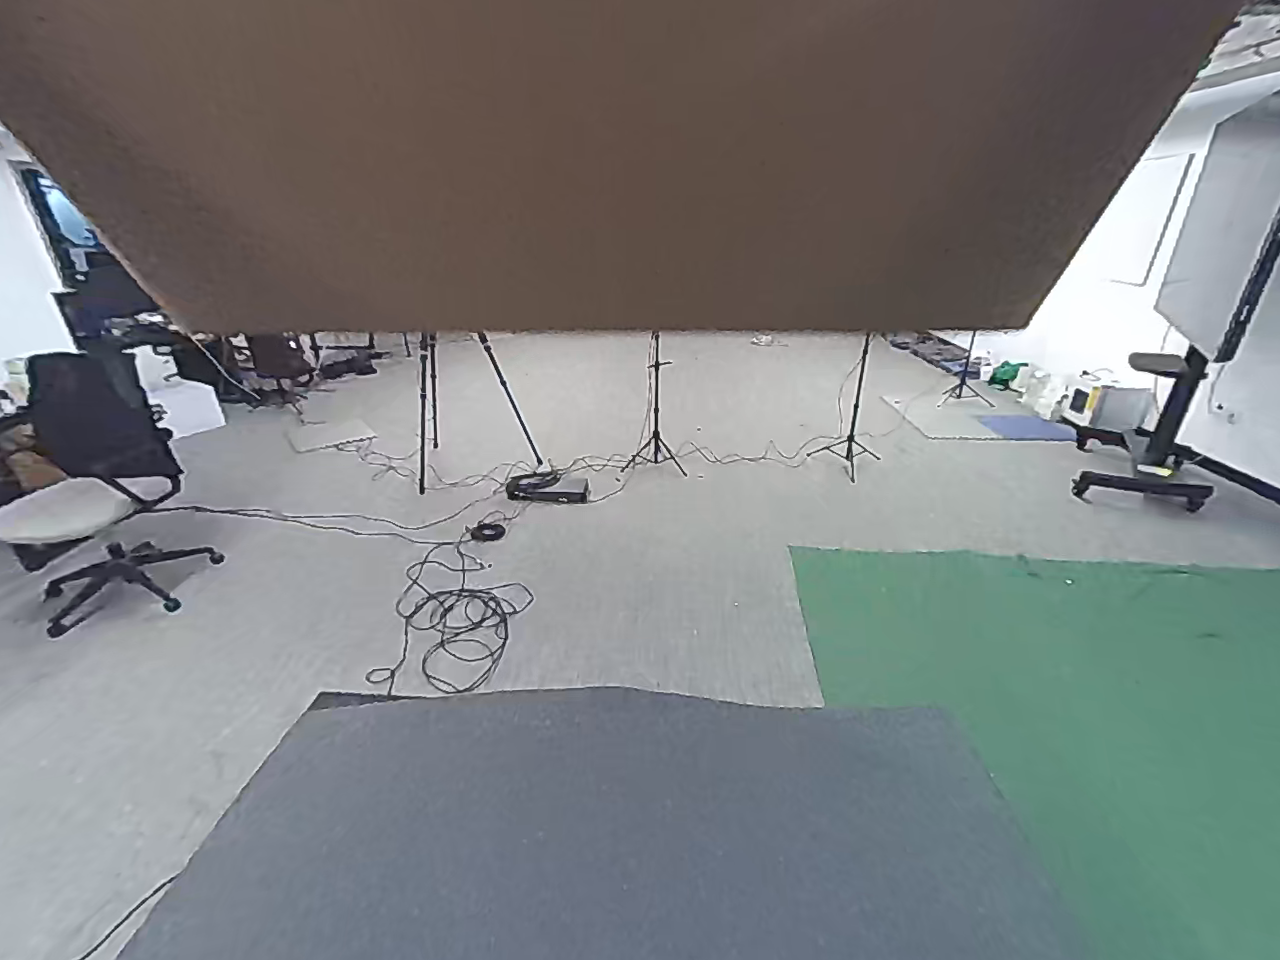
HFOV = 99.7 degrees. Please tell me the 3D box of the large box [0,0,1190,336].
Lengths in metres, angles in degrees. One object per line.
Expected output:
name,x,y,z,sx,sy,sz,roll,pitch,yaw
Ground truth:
large box,-0.030,-0.279,0.229,0.408,0.320,0.320,0,56,2
